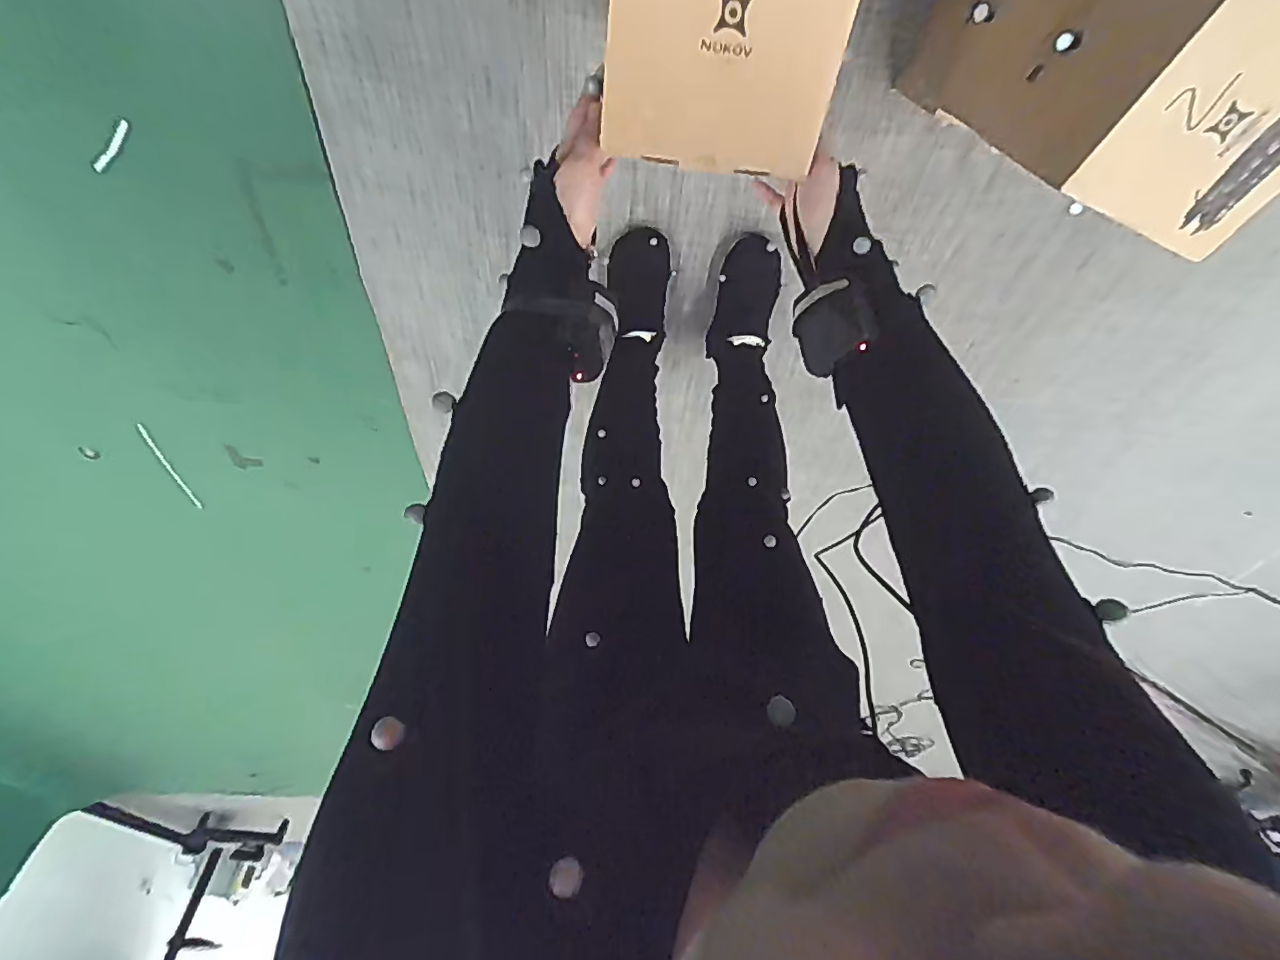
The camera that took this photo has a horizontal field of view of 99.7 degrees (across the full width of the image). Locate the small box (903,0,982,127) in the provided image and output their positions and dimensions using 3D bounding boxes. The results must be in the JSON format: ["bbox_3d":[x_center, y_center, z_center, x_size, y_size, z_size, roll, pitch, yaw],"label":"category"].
[{"bbox_3d":[0.475,-0.566,0.696,0.168,0.176,0.179,11,136,-10],"label":"small box"}]

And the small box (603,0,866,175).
[{"bbox_3d":[0.059,-0.358,0.410,0.168,0.176,0.179,4,133,-6],"label":"small box"}]

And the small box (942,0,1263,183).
[{"bbox_3d":[0.457,-0.459,0.573,0.168,0.176,0.179,14,135,-13],"label":"small box"}]
